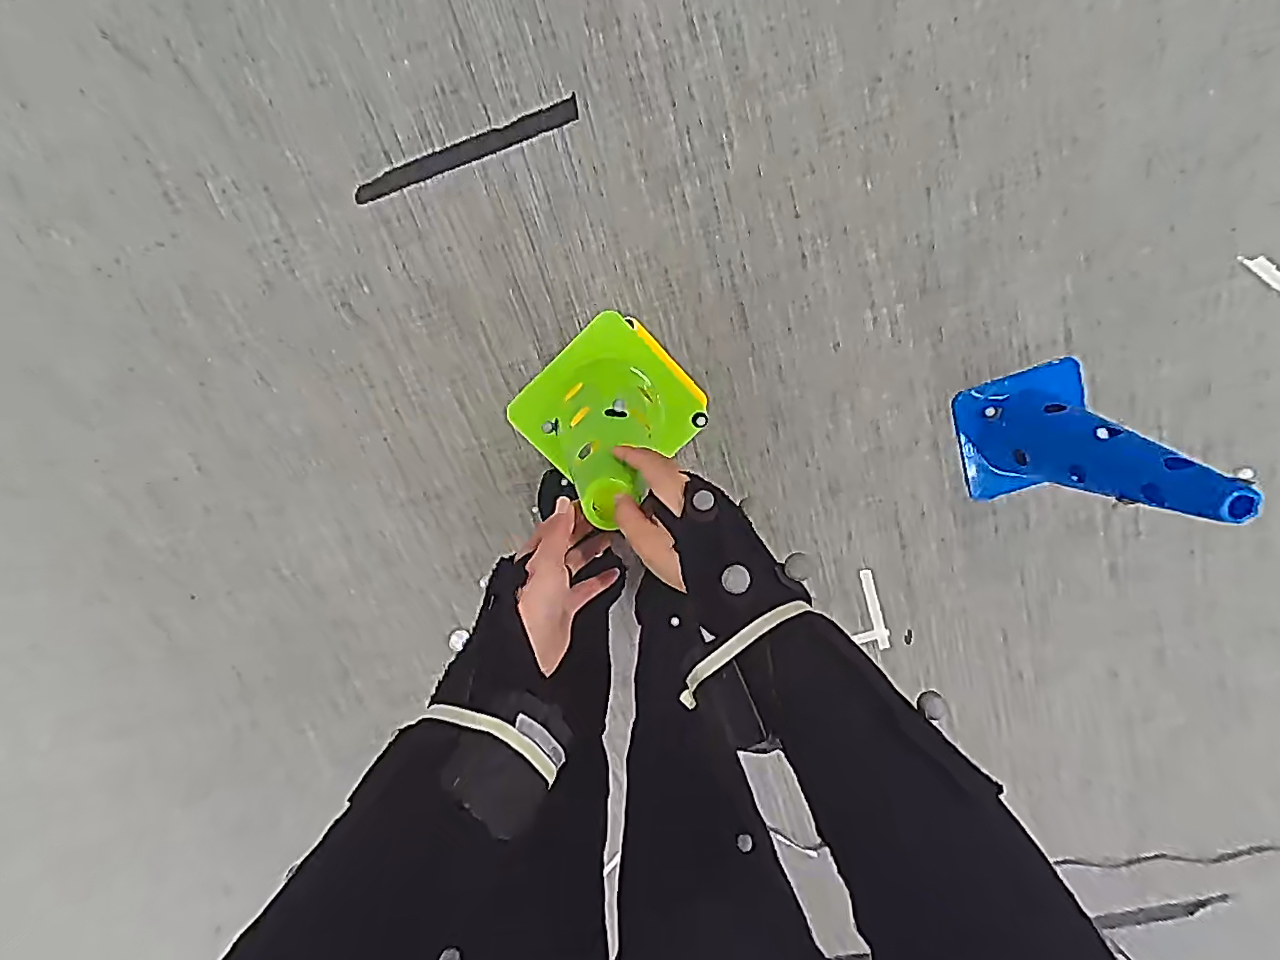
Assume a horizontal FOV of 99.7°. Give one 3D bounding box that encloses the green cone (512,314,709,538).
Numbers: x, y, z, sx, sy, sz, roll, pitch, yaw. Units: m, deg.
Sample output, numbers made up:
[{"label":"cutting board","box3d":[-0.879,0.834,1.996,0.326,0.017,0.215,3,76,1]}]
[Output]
[{"label":"green cone","box3d":[-0.031,-0.034,0.546,0.202,0.368,0.200,-43,103,10]}]
